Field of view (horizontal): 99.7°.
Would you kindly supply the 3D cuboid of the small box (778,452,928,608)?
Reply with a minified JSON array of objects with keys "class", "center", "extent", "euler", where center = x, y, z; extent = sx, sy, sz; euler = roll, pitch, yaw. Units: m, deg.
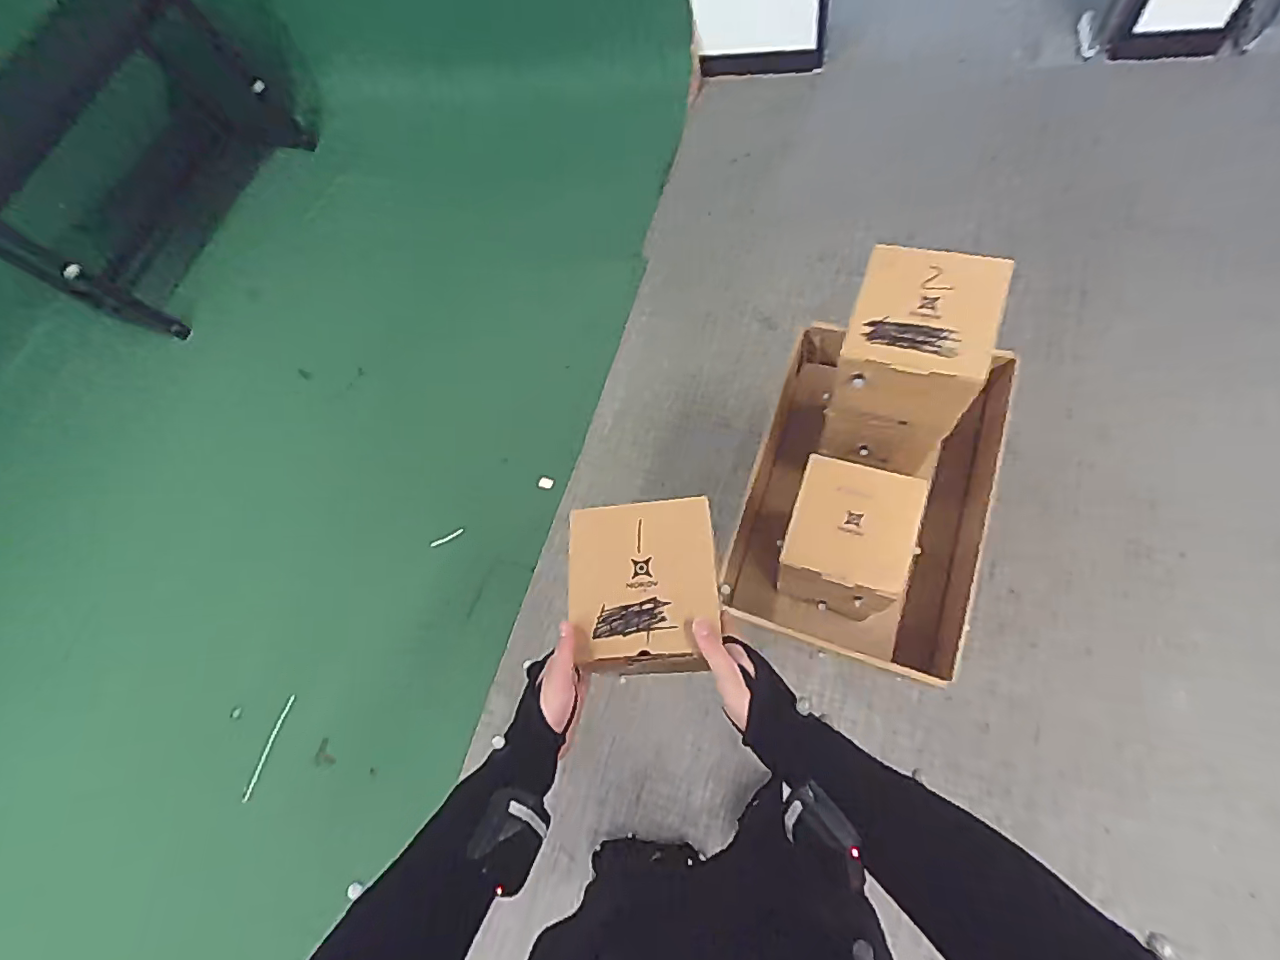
[{"class":"small box","center":[0.320,0.085,0.836],"extent":[0.168,0.176,0.179],"euler":[16,74,19]}]

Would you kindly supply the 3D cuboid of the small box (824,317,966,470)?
[{"class":"small box","center":[0.412,-0.139,0.899],"extent":[0.168,0.176,0.179],"euler":[15,77,18]}]

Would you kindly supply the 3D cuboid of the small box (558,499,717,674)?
[{"class":"small box","center":[0.004,0.141,0.666],"extent":[0.168,0.176,0.179],"euler":[-6,63,7]}]
